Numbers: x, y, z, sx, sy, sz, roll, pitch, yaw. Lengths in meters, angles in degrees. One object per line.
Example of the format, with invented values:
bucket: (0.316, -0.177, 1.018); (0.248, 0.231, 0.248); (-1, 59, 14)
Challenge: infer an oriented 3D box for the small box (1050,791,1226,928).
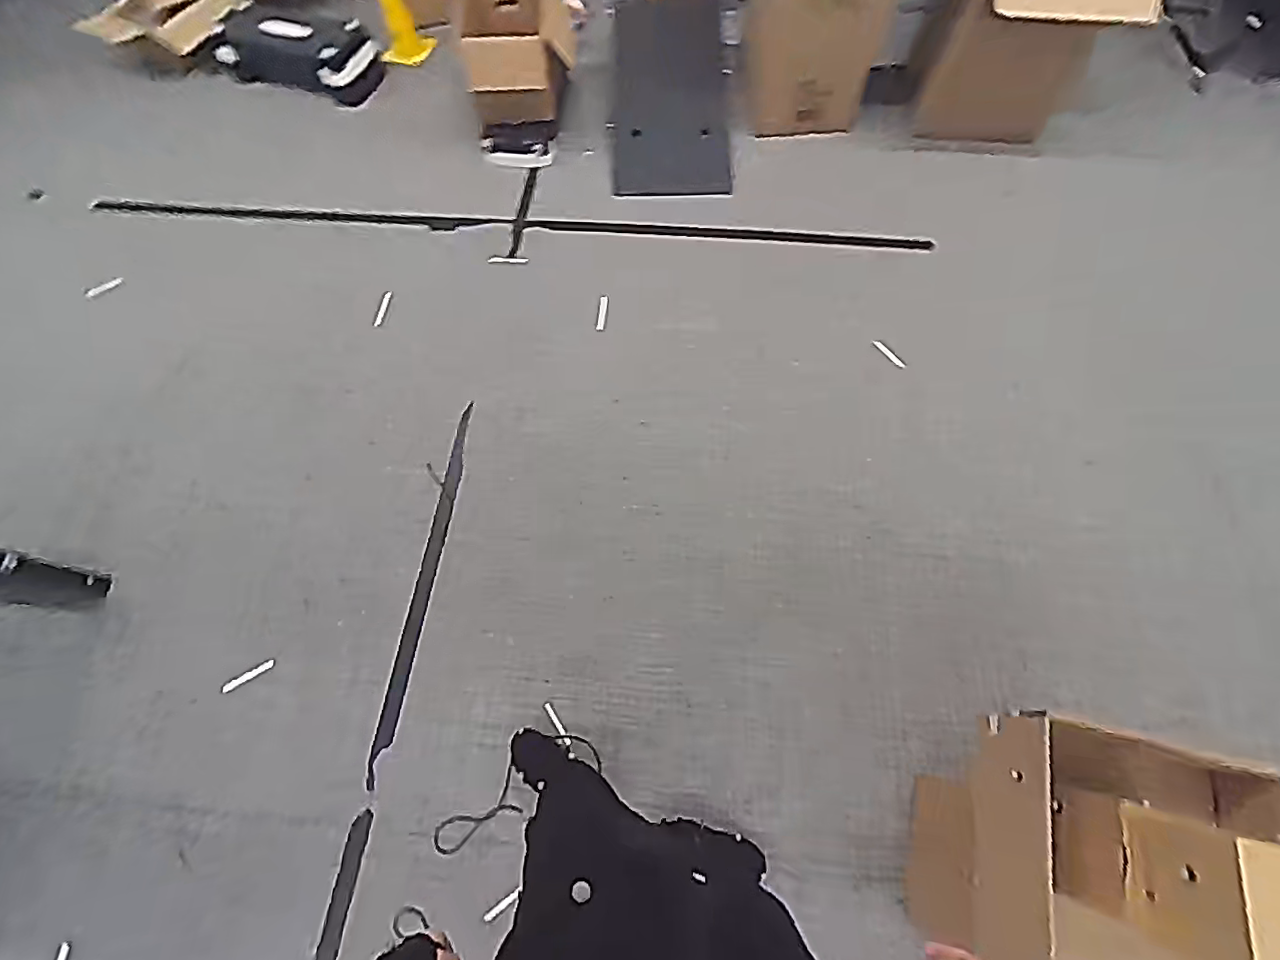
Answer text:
small box: (0.802, 0.620, 0.868); (0.179, 0.176, 0.168); (16, 69, 6)

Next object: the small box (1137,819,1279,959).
small box: (0.809, 0.570, 0.713); (0.179, 0.176, 0.168); (13, 69, 5)
